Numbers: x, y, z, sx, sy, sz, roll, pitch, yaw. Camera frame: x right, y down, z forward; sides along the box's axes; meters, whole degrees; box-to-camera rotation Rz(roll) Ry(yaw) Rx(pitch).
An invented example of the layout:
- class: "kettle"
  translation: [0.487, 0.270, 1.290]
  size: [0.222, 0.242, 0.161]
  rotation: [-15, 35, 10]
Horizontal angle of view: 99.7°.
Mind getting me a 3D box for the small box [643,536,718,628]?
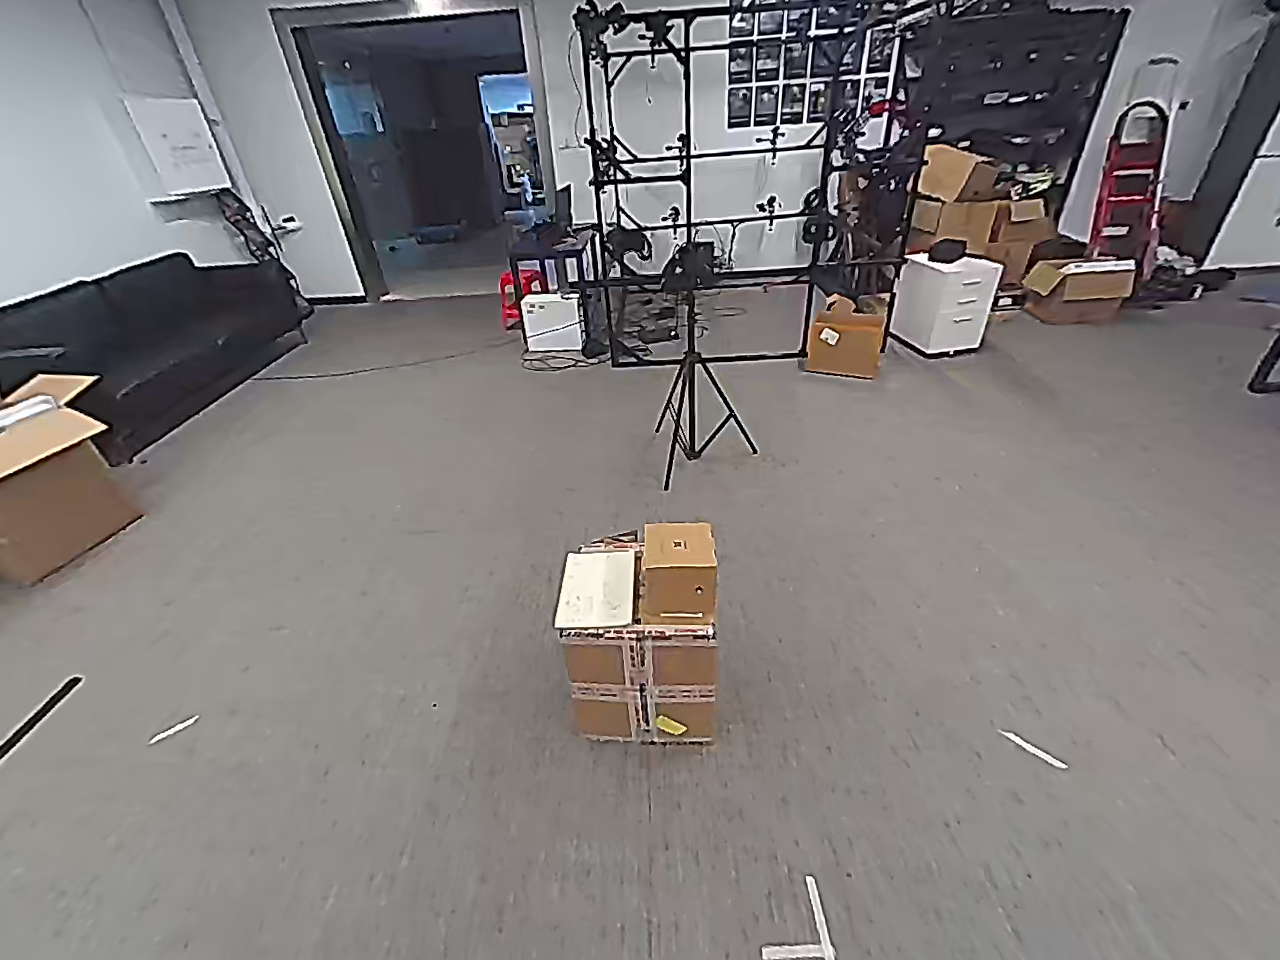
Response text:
- class: "small box"
  translation: [0.097, 0.260, 1.375]
  size: [0.179, 0.176, 0.168]
  rotation: [-2, 35, 1]
